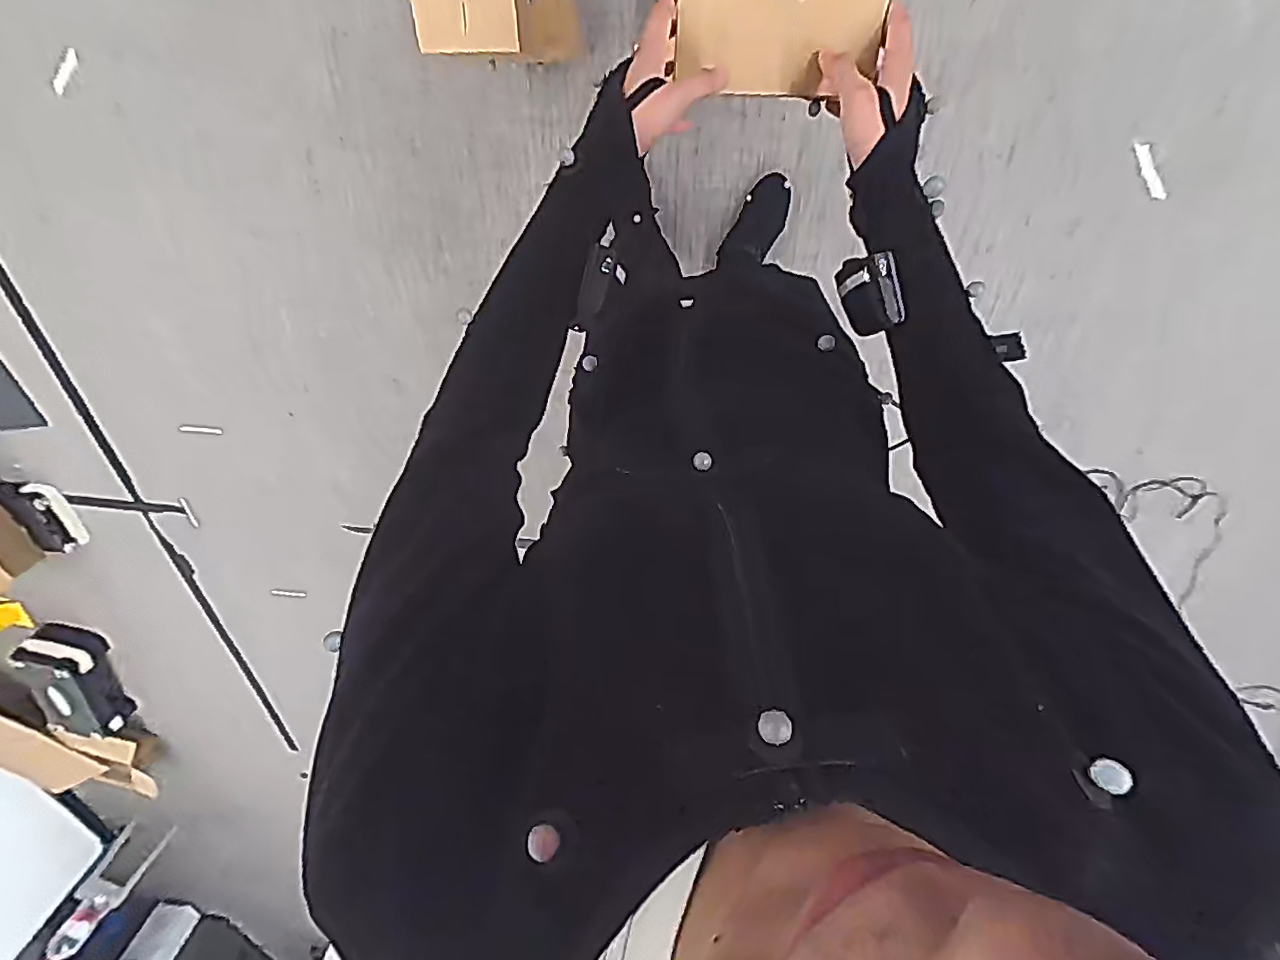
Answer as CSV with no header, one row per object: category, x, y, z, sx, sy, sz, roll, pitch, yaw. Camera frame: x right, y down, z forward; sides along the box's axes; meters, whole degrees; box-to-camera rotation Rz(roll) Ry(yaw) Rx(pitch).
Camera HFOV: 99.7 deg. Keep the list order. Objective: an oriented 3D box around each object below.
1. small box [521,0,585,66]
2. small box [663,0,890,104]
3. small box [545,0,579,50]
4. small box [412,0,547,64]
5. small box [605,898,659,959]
small box,-0.215,-0.976,1.116,0.168,0.176,0.179,2,124,6
small box,0.113,-0.442,0.488,0.179,0.176,0.168,-1,126,-2
small box,-0.219,-0.888,0.978,0.179,0.176,0.168,1,124,7
small box,-0.252,-0.778,0.857,0.168,0.176,0.179,5,125,6
small box,-0.026,1.657,1.972,0.179,0.176,0.168,3,126,6
